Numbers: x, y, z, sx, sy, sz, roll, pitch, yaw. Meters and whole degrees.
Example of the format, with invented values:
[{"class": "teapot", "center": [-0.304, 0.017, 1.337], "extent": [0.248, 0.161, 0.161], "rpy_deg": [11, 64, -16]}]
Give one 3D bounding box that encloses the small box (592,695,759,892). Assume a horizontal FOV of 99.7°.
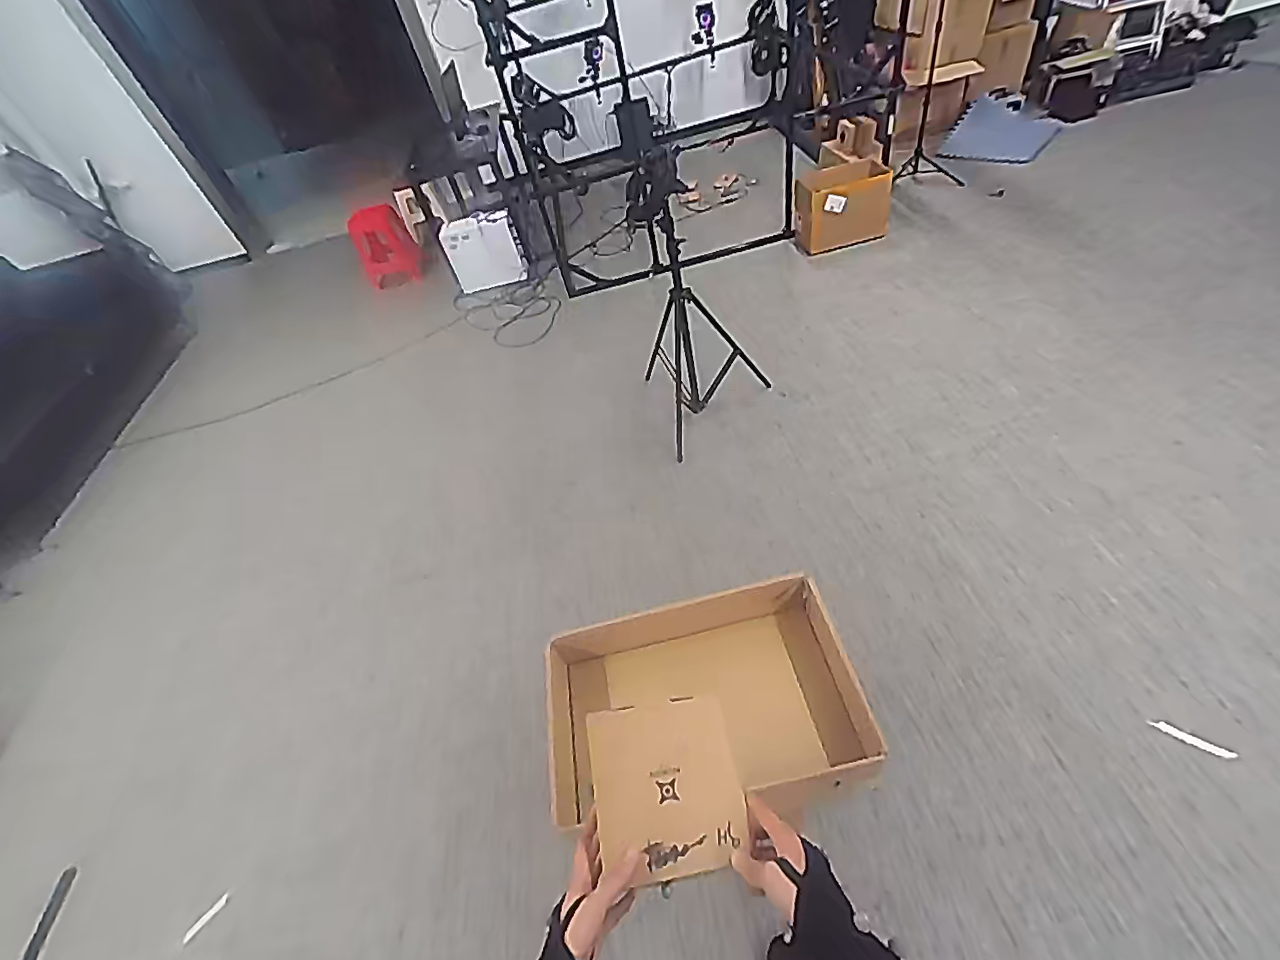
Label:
[{"class": "small box", "center": [0.028, 0.390, 0.672], "extent": [0.168, 0.176, 0.179], "rpy_deg": [-5, 53, -8]}]
